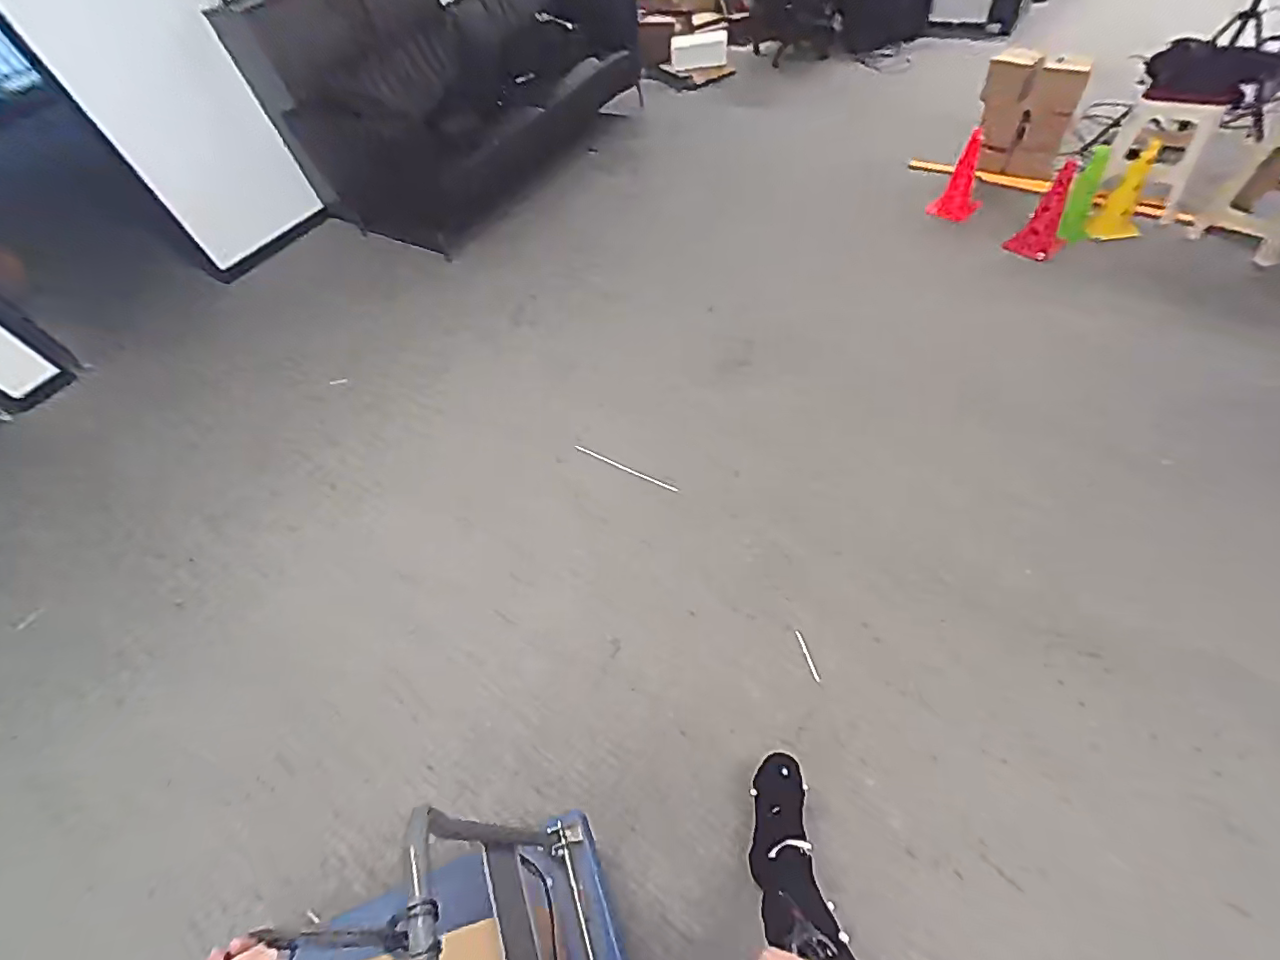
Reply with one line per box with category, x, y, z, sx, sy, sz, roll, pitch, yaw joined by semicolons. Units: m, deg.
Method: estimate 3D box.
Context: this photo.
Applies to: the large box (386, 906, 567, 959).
large box;-0.334;0.976;0.905;0.408;0.320;0.320;-18;53;-2
